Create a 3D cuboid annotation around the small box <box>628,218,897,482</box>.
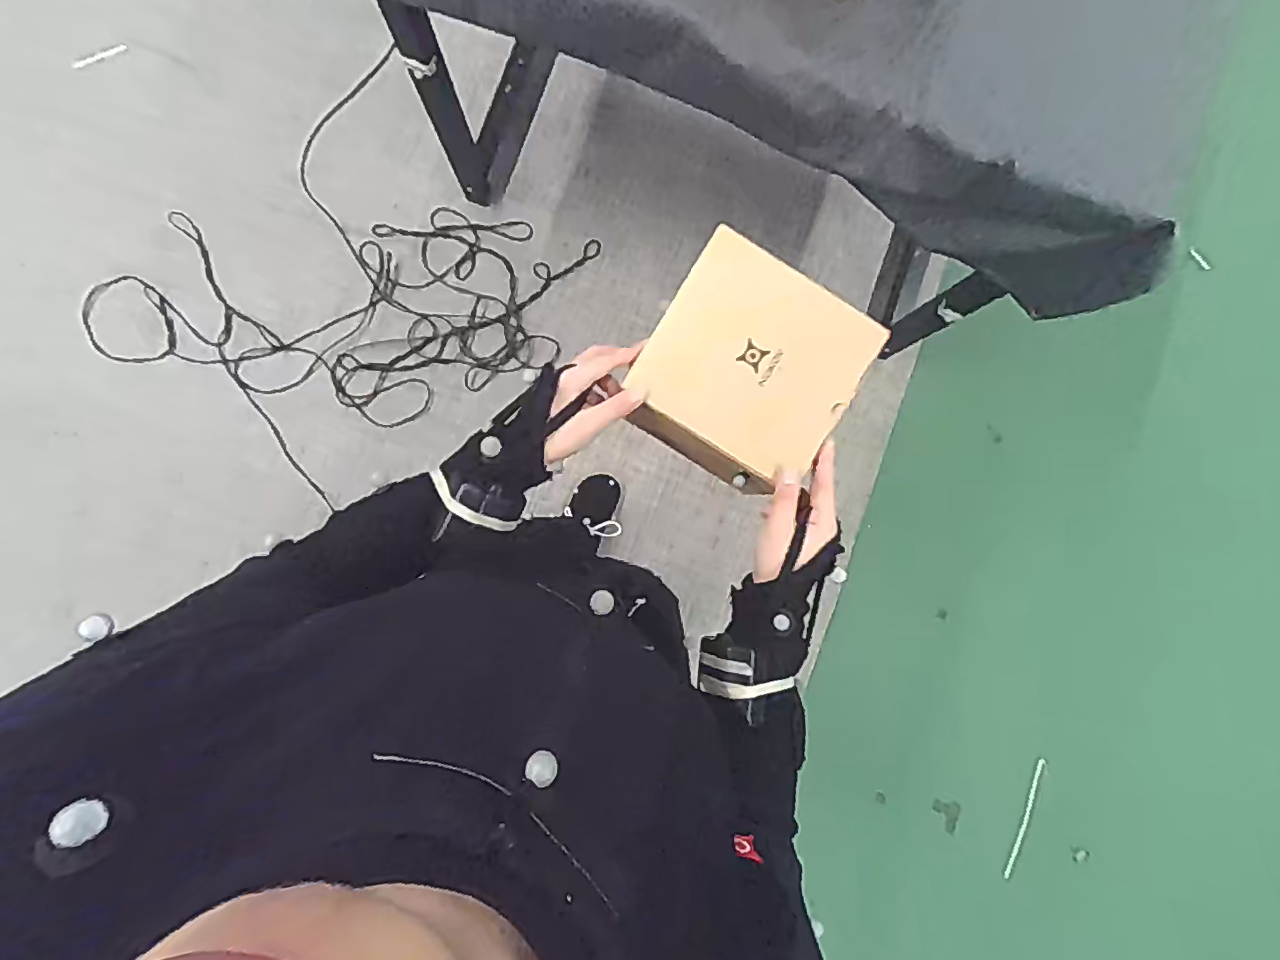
[{"bbox_3d":[0.100,-0.106,0.531,0.179,0.176,0.168,31,88,-3],"label":"small box"}]
